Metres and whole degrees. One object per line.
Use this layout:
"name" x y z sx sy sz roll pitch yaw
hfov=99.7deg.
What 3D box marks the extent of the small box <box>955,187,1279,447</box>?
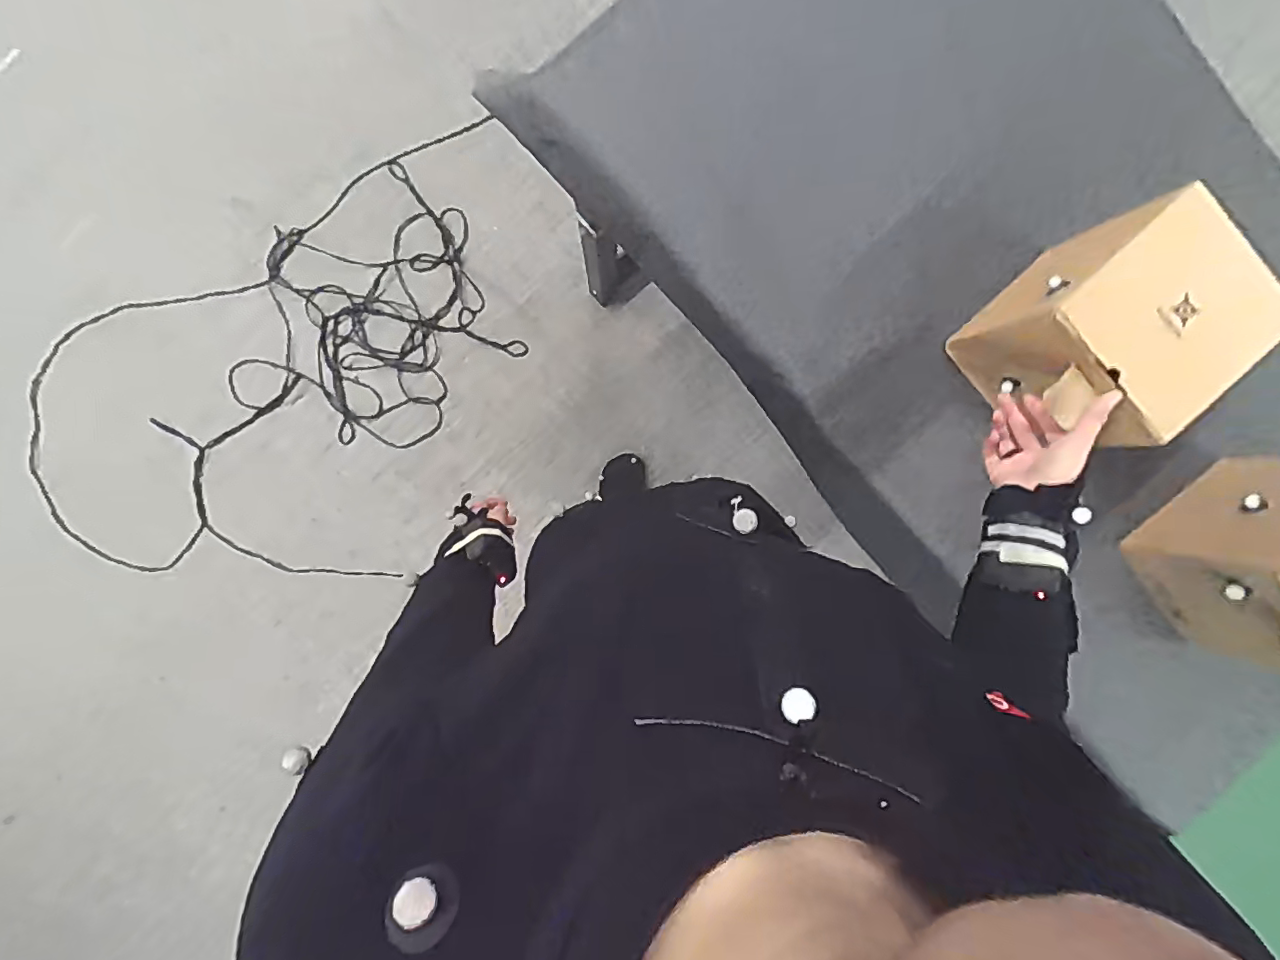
"small box" 0.485 -0.152 0.568 0.179 0.176 0.168 -42 94 0
